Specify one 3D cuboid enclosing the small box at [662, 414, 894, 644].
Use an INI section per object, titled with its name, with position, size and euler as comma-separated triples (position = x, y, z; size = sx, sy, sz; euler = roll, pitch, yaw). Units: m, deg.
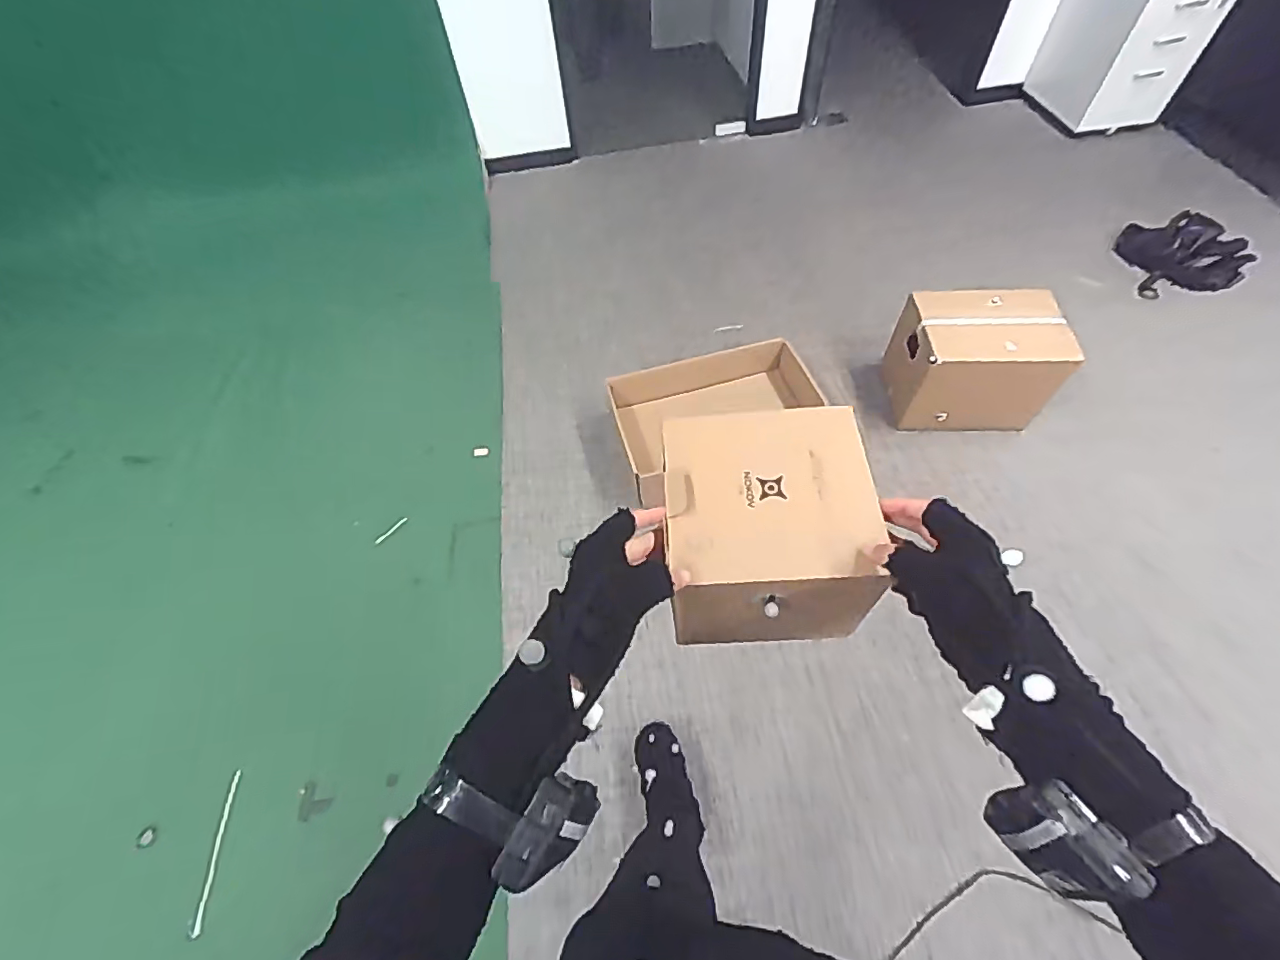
[small box]
position = 0.117, 0.056, 0.532
size = 0.179, 0.176, 0.168
euler = -4, 57, 3
